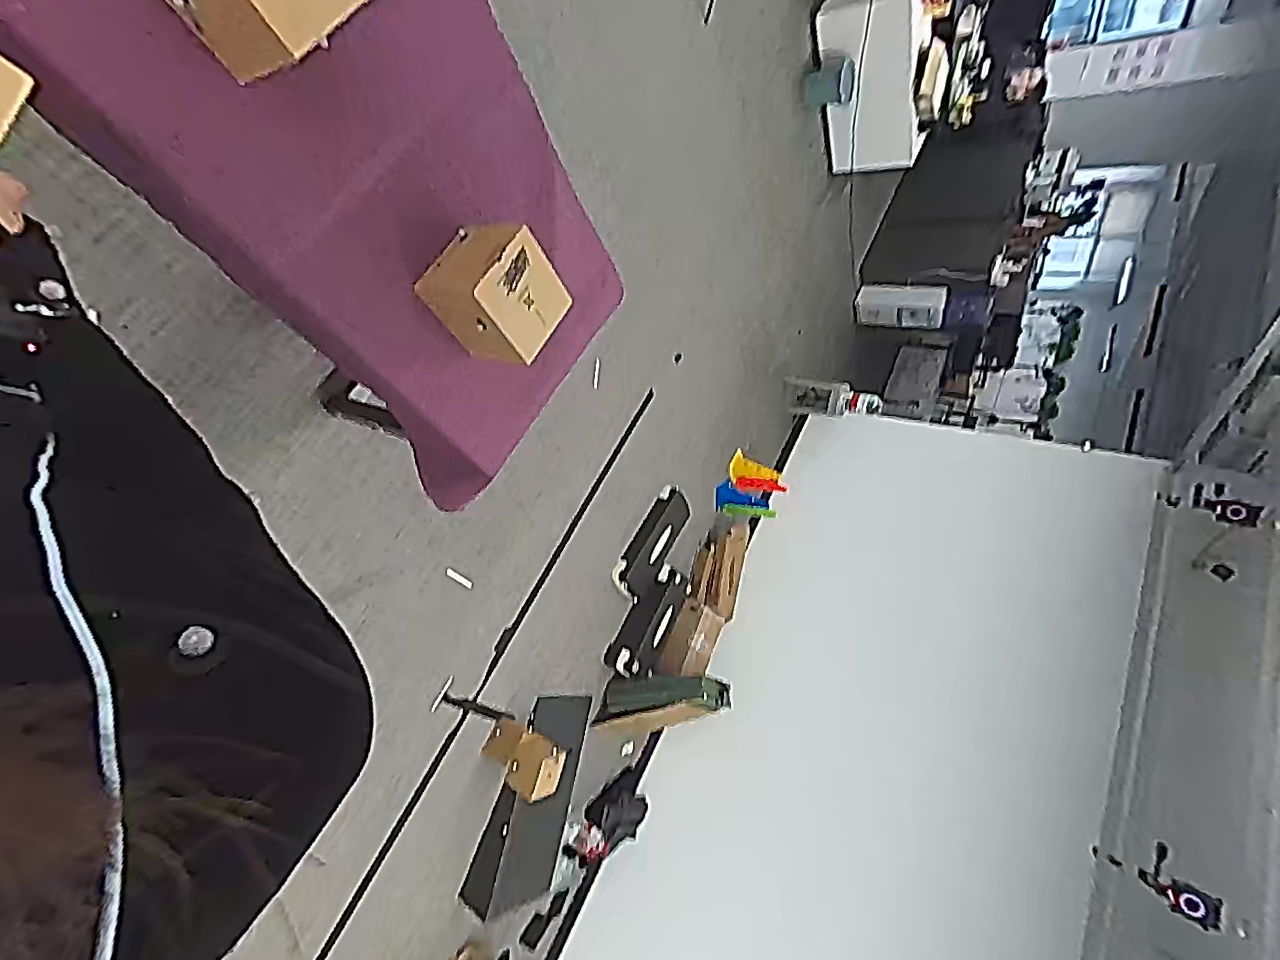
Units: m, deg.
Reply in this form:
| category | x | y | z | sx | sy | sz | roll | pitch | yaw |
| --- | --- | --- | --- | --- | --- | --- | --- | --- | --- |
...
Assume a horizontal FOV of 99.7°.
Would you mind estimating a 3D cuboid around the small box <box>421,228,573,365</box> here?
| category | x | y | z | sx | sy | sz | roll | pitch | yaw |
| --- | --- | --- | --- | --- | --- | --- | --- | --- | --- |
| small box | -0.263 | -0.336 | 1.002 | 0.168 | 0.176 | 0.179 | -61 | 144 | -20 |
